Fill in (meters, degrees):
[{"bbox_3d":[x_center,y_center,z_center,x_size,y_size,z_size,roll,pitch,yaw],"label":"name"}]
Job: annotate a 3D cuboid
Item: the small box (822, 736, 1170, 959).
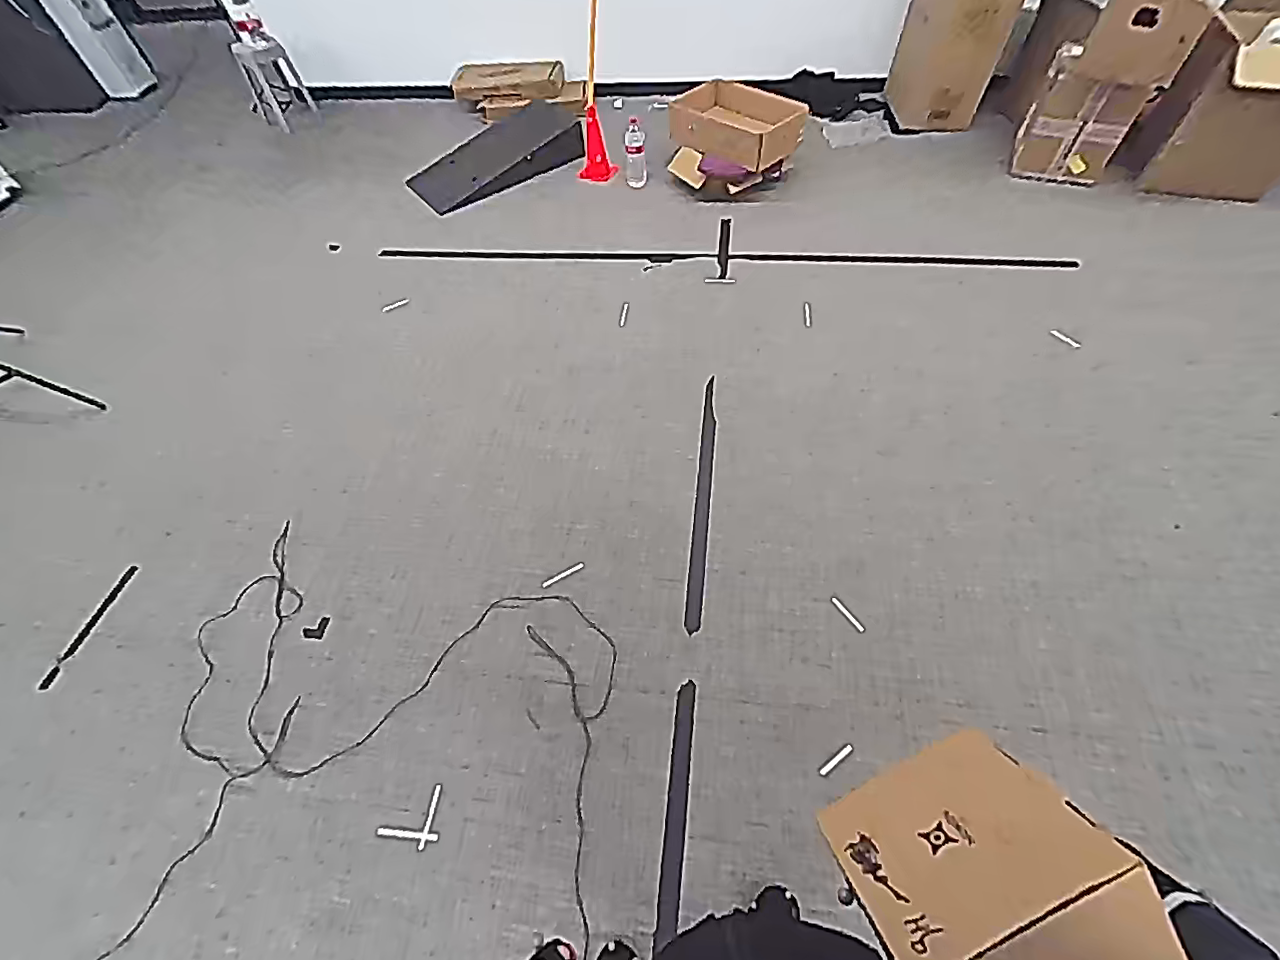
[{"bbox_3d":[0.292,0.366,0.453,0.179,0.168,0.176,-27,96,-2],"label":"small box"}]
